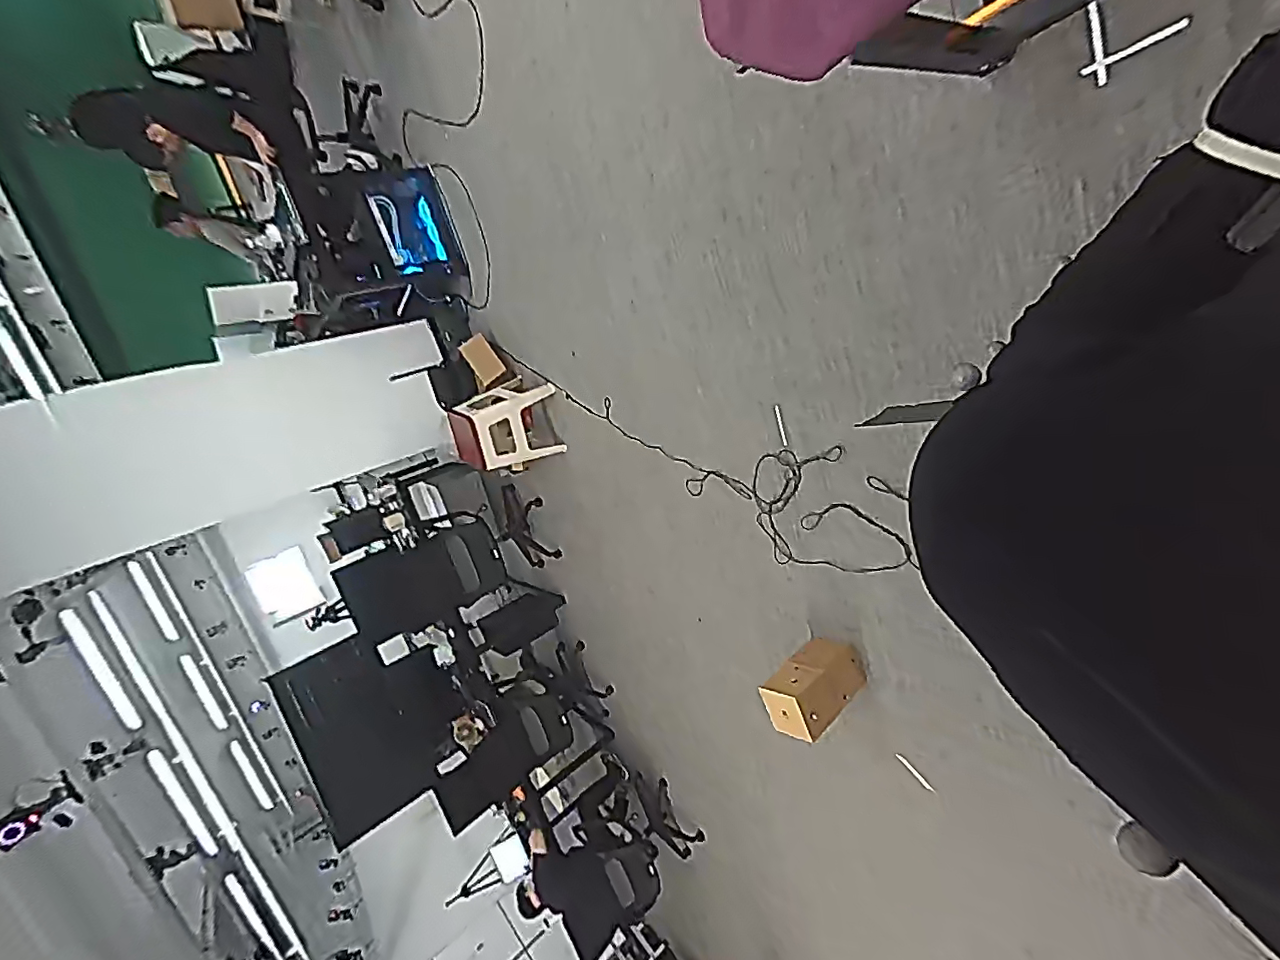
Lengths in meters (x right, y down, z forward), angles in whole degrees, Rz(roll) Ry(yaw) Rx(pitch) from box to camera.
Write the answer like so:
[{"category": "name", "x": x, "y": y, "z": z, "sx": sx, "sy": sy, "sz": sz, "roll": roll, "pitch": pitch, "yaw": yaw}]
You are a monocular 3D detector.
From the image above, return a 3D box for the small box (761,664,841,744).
[{"category": "small box", "x": 0.551, "y": 0.753, "z": 1.842, "sx": 0.168, "sy": 0.176, "sz": 0.179, "roll": -12, "pitch": 103, "yaw": 57}]
